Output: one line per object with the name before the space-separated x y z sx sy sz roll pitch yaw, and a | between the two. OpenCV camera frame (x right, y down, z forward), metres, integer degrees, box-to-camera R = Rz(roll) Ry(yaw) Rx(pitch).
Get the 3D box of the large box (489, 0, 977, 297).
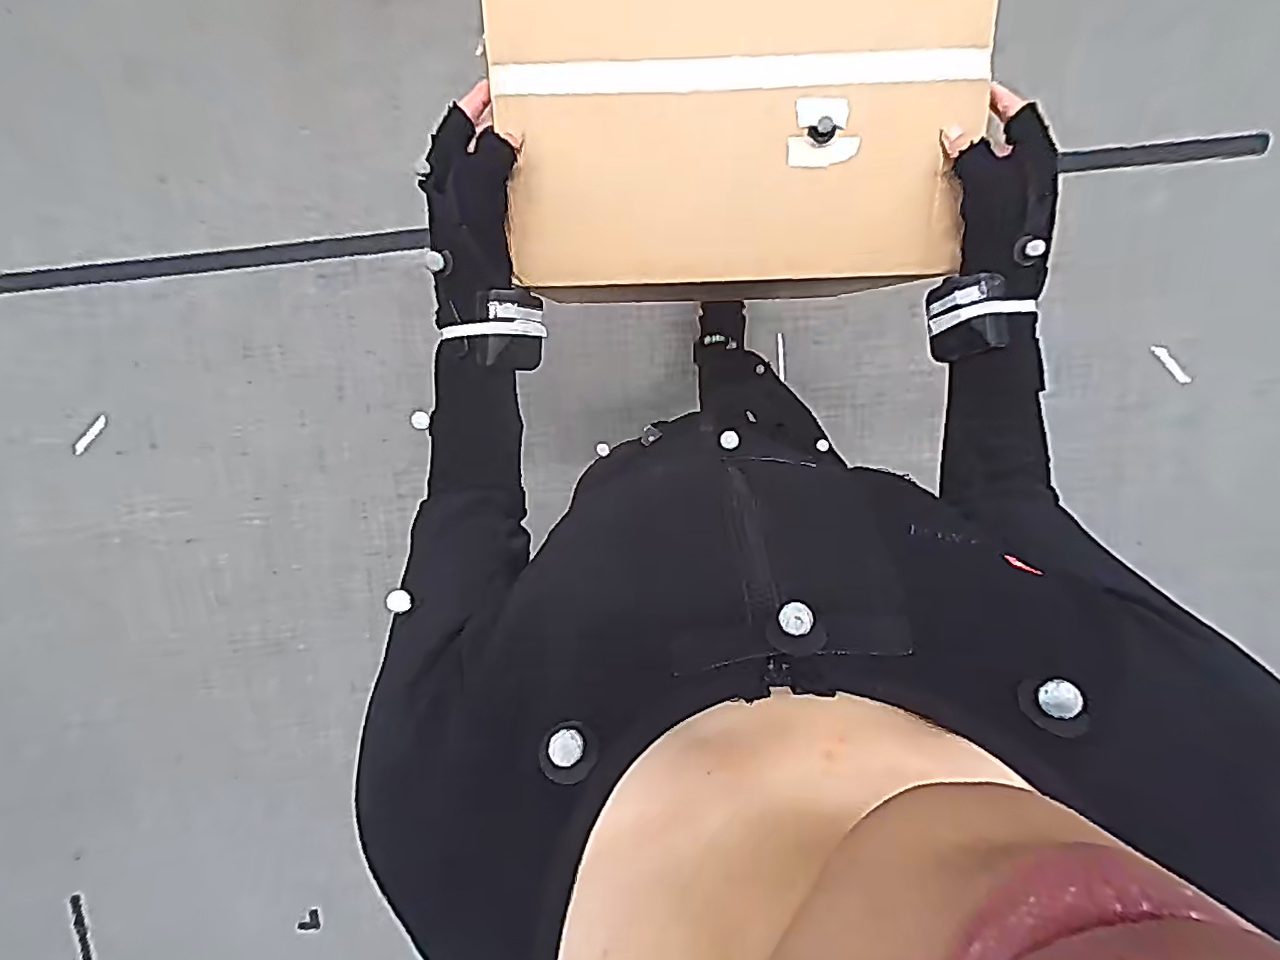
large box | 0.073 -0.382 0.594 0.408 0.320 0.320 -2 105 -1
